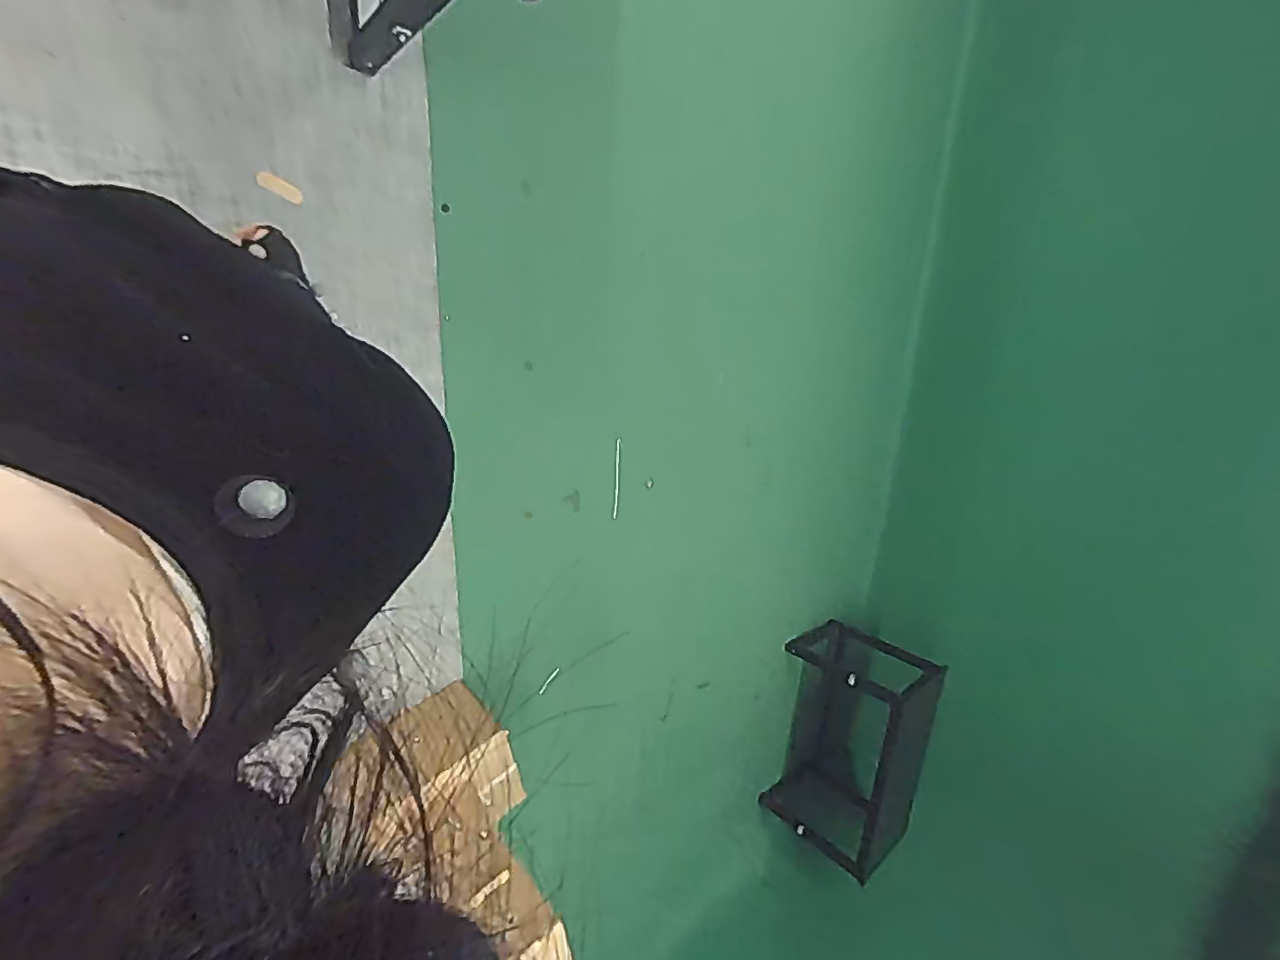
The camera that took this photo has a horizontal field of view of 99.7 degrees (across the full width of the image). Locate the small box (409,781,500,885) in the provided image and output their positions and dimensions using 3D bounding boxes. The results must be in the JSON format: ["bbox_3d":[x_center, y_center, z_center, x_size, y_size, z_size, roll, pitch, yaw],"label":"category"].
[{"bbox_3d":[-0.496,0.970,1.467,0.179,0.176,0.168,-24,118,-36],"label":"small box"}]

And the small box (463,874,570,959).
[{"bbox_3d":[-0.282,1.054,1.233,0.168,0.176,0.179,-23,116,-36],"label":"small box"}]

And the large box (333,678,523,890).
[{"bbox_3d":[-0.639,0.900,1.656,0.408,0.320,0.320,-28,123,-35],"label":"large box"}]

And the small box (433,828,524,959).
[{"bbox_3d":[-0.395,1.015,1.347,0.168,0.176,0.179,-22,117,-37],"label":"small box"}]
